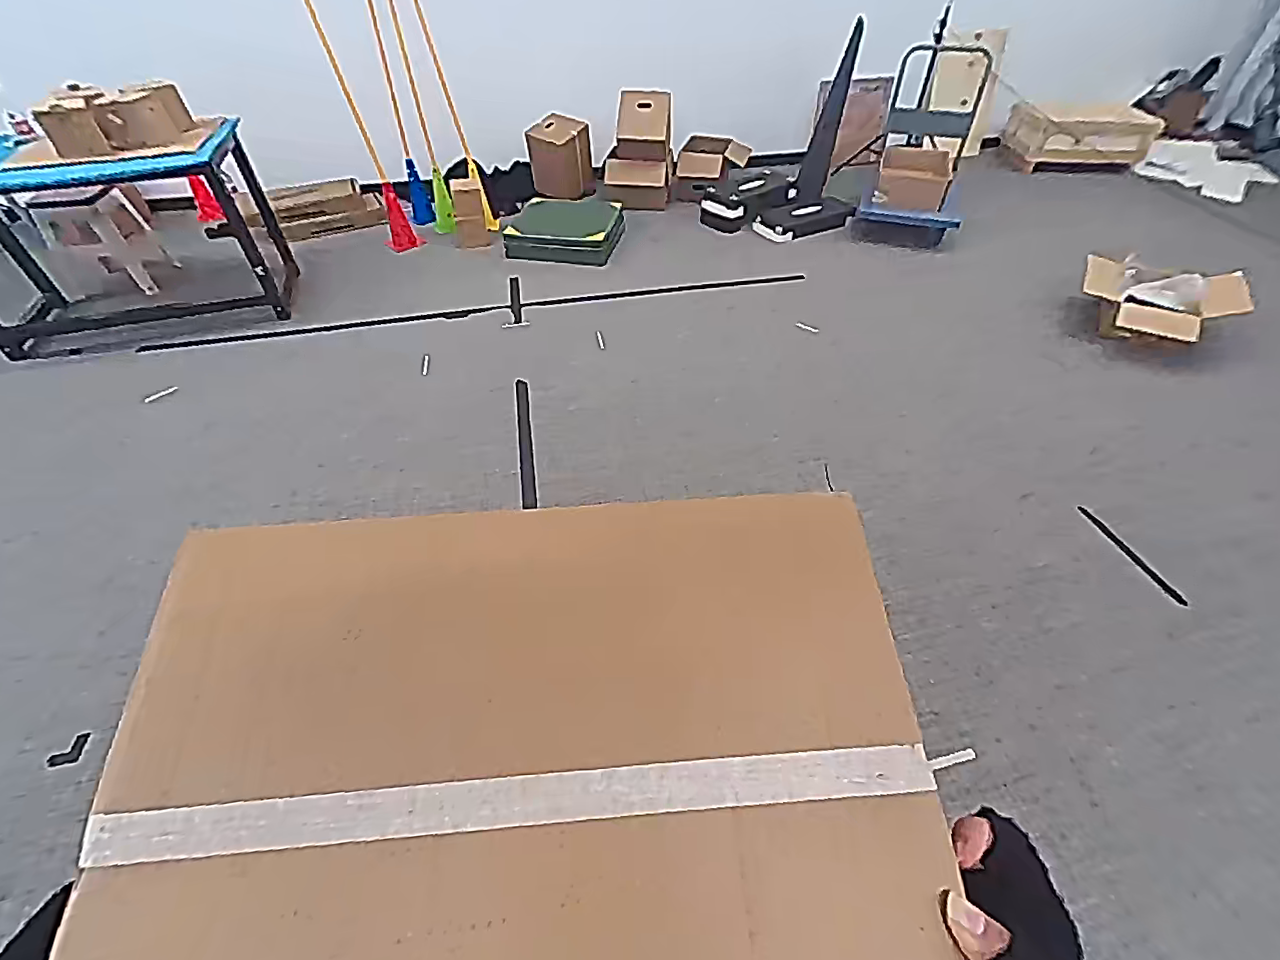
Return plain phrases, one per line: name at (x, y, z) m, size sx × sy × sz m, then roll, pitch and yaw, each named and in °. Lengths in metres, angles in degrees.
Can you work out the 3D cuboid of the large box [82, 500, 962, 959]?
large box at (-0.059, 0.230, 0.407) m, size 0.408 × 0.320 × 0.320 m, roll -3°, pitch 64°, yaw -2°
